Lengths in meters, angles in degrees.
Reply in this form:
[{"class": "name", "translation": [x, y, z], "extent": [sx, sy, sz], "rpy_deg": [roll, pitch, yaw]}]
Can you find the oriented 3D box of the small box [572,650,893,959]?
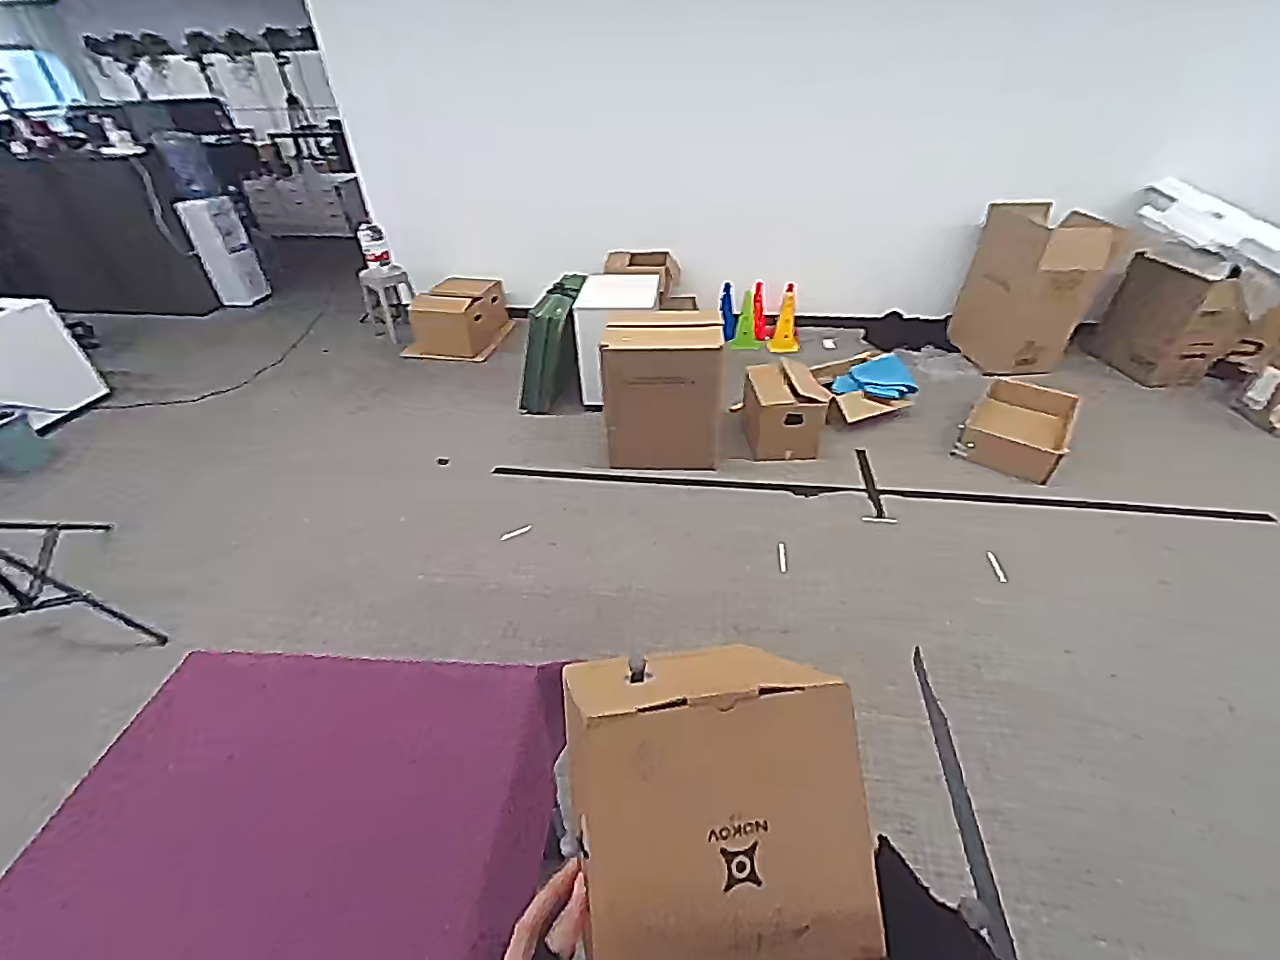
[{"class": "small box", "translation": [0.043, 0.220, 0.378], "extent": [0.168, 0.176, 0.179], "rpy_deg": [-2, 81, -12]}]
